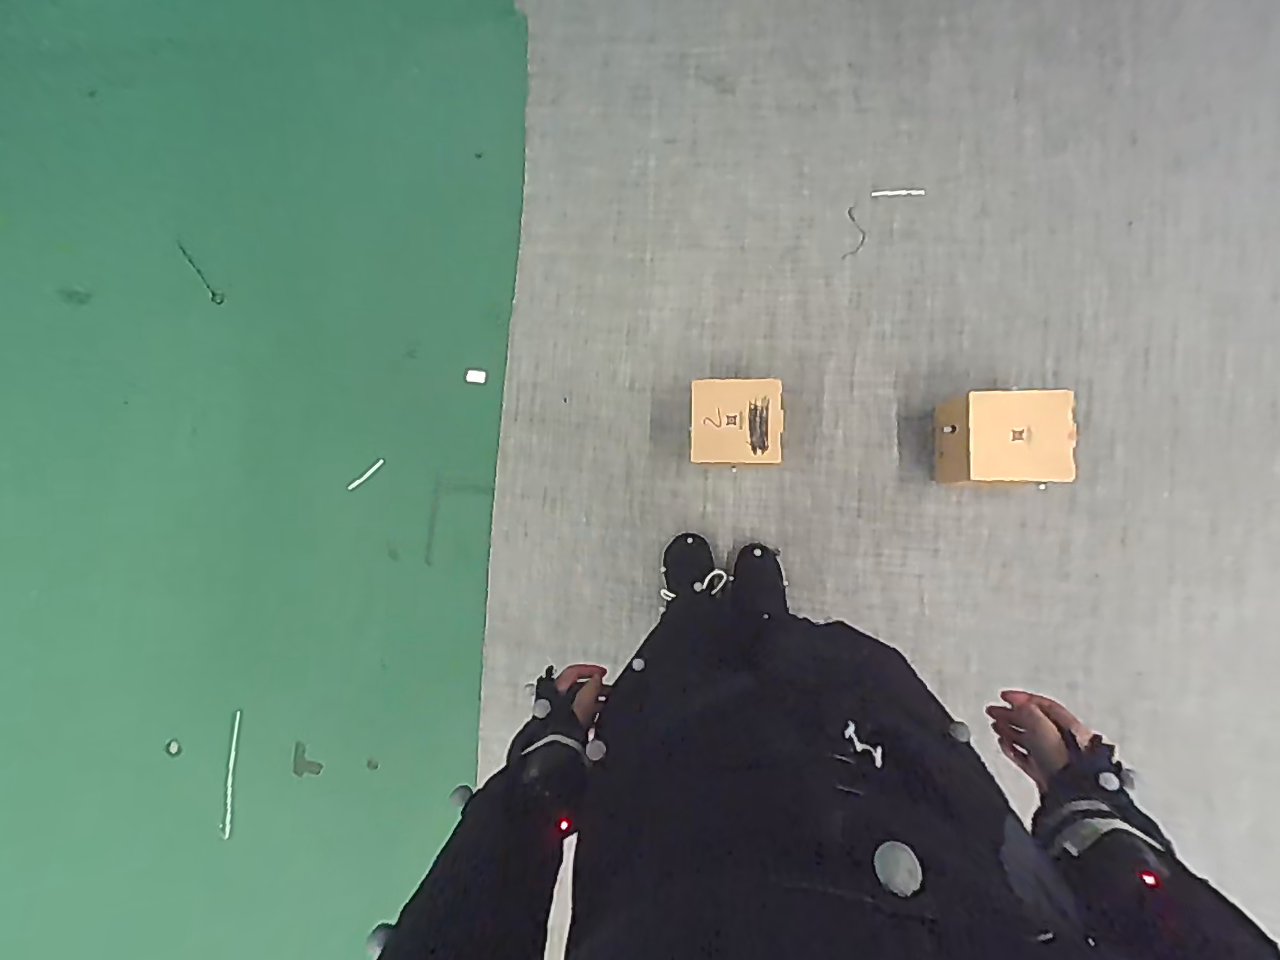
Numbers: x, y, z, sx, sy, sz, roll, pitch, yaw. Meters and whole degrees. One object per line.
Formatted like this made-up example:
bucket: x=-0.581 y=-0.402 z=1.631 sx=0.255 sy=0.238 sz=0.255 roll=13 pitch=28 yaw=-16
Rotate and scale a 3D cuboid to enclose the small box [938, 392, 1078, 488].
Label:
small box: x=0.692 y=-0.070 z=1.039 sx=0.179 sy=0.176 sz=0.168 roll=0 pitch=87 yaw=8
